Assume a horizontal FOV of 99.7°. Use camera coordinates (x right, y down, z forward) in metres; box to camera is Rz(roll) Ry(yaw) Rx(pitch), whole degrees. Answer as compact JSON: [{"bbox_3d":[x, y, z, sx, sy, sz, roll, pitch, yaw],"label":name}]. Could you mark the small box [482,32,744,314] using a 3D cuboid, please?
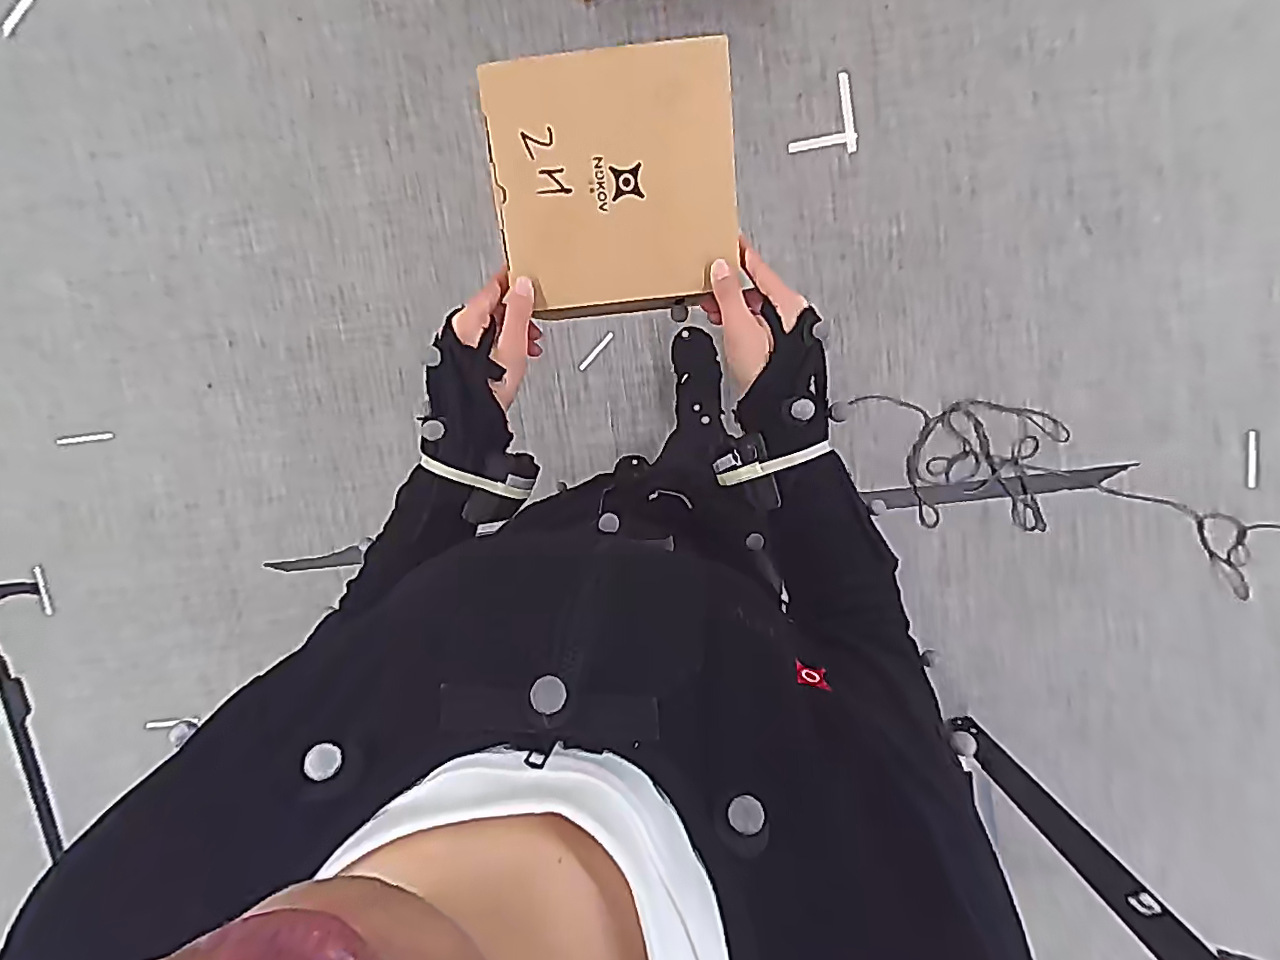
[{"bbox_3d":[-0.016,-0.237,0.463,0.179,0.176,0.168,-5,104,1],"label":"small box"}]
